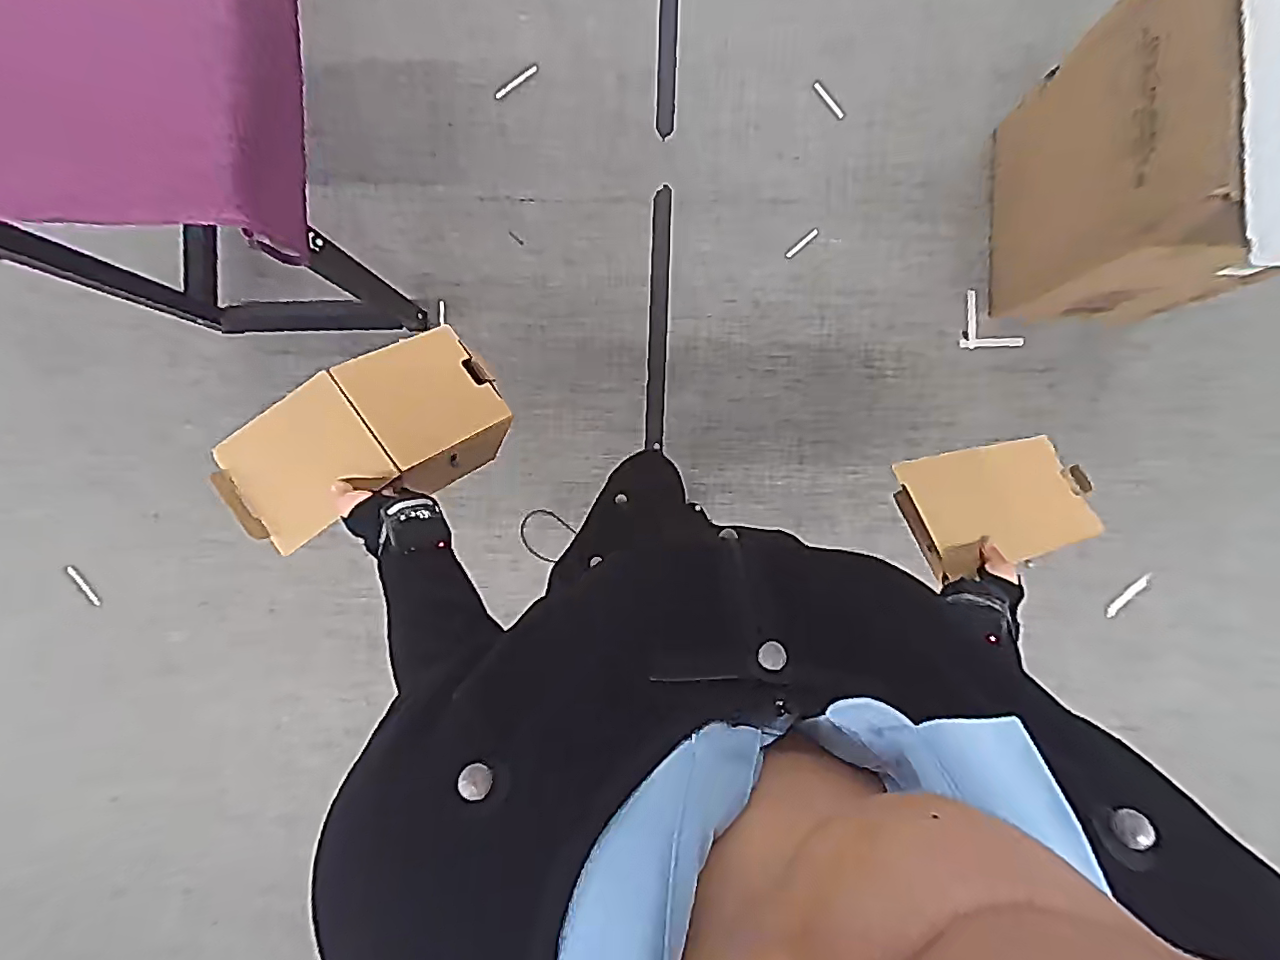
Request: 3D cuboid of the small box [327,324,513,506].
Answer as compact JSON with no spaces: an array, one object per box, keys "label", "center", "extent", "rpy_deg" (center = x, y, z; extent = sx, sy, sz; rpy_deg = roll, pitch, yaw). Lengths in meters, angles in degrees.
[{"label":"small box","center":[-0.311,-0.086,0.774],"extent":[0.179,0.176,0.168],"rpy_deg":[-34,87,-32]}]
